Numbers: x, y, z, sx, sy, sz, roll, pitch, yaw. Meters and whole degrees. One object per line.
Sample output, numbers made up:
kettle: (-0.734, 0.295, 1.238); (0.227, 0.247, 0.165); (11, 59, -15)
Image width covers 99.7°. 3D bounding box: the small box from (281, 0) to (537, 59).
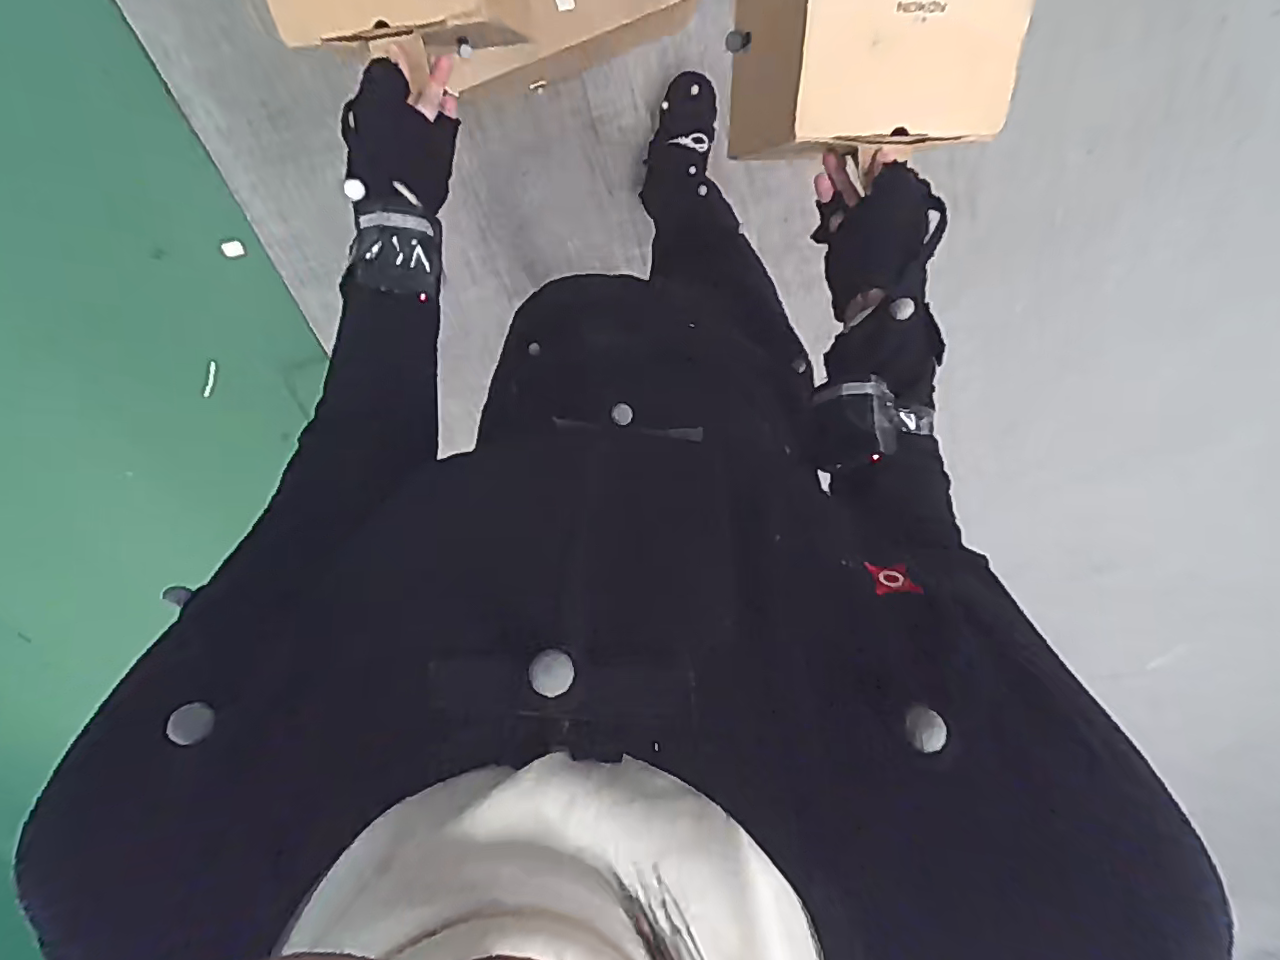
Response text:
small box: (-0.194, -0.462, 0.439); (0.168, 0.176, 0.179); (-3, 124, 8)
